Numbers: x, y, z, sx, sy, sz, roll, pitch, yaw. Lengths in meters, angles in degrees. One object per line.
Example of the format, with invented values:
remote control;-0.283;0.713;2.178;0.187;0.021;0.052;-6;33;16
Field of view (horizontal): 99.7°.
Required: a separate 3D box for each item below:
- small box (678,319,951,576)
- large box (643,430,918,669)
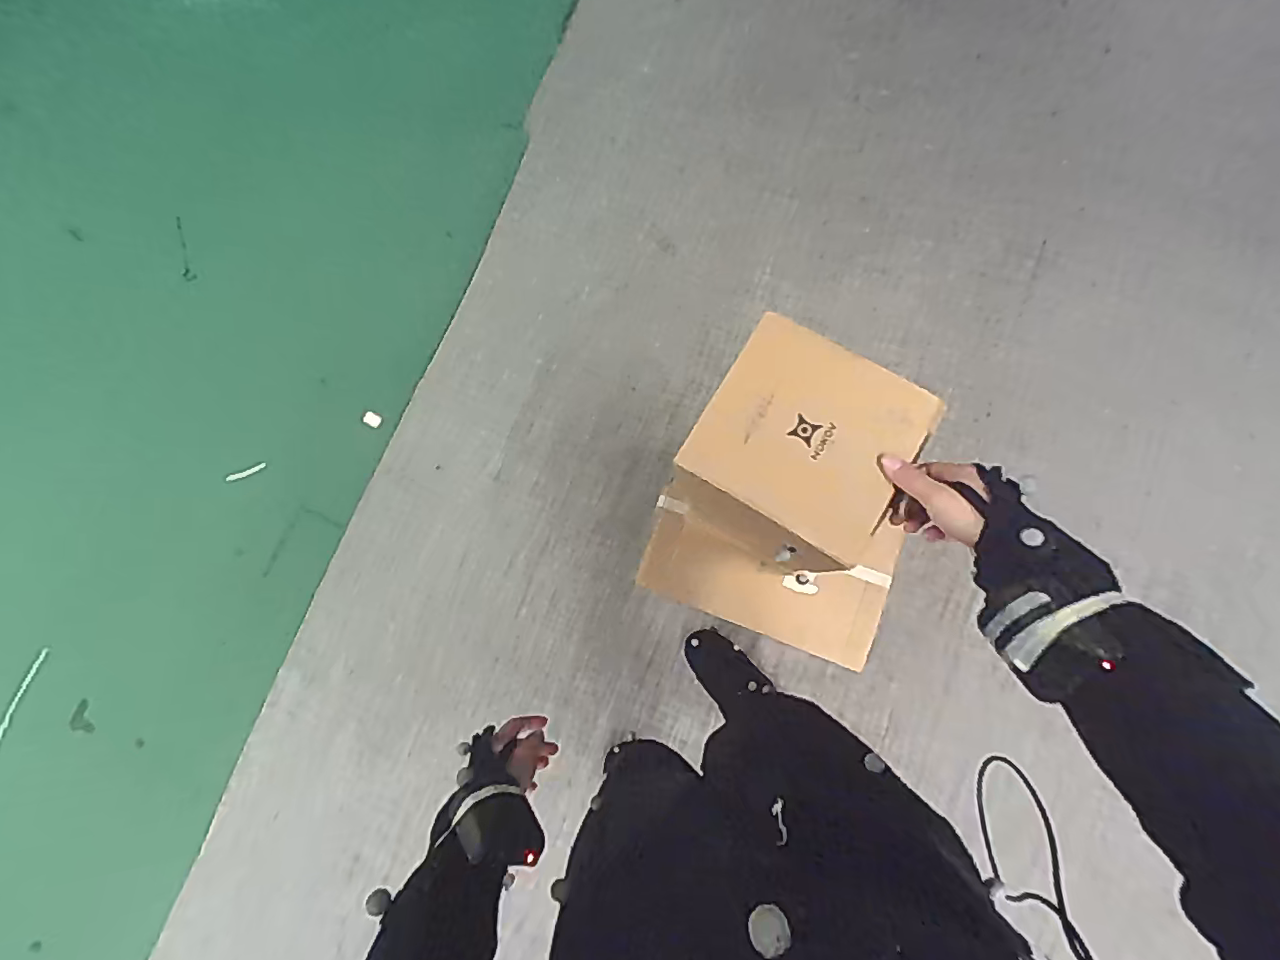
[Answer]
small box;0.156;-0.020;0.537;0.179;0.176;0.168;31;83;11
large box;0.254;0.133;1.079;0.408;0.320;0.320;20;84;10
